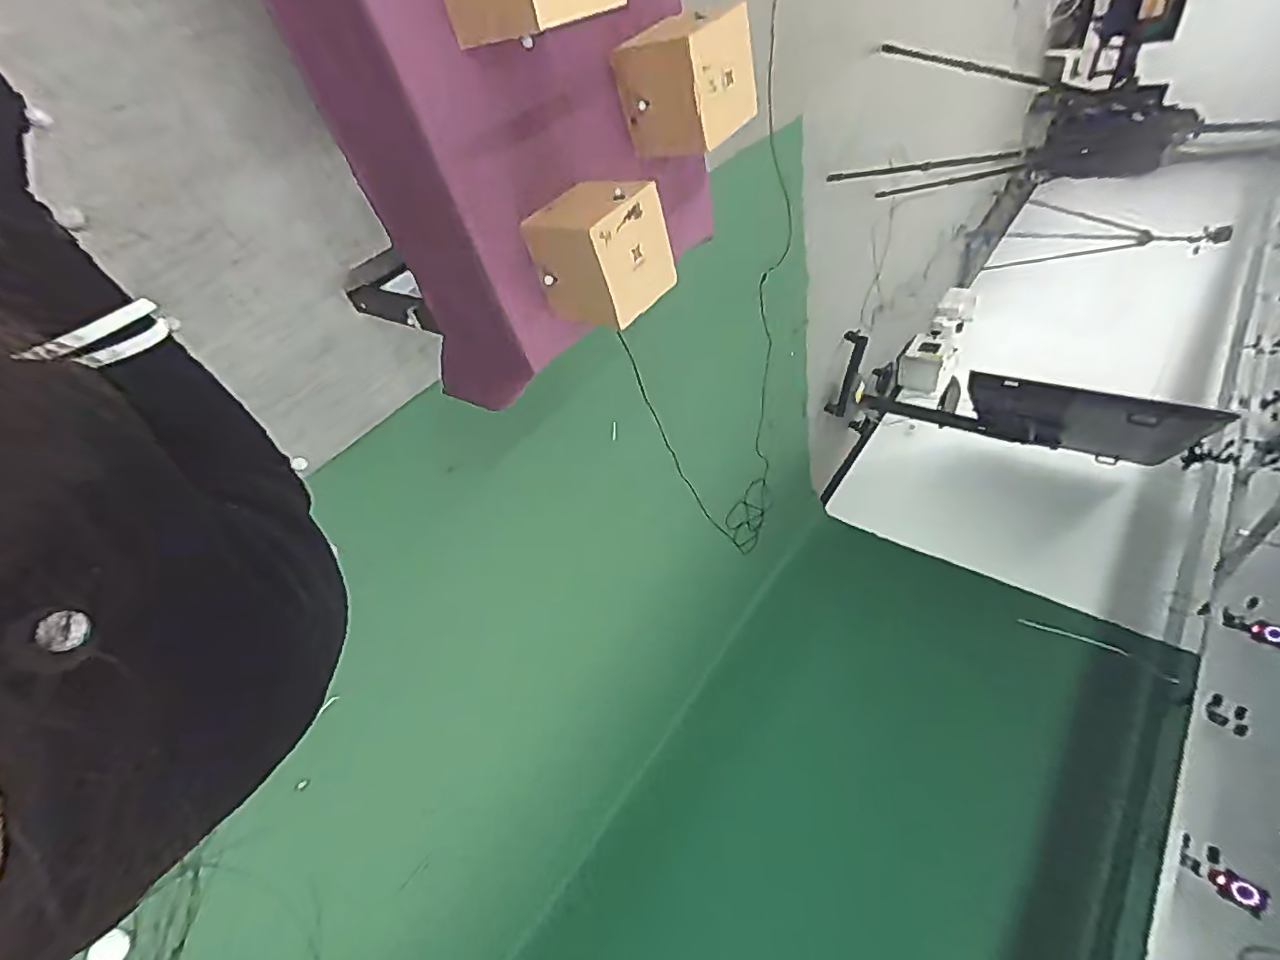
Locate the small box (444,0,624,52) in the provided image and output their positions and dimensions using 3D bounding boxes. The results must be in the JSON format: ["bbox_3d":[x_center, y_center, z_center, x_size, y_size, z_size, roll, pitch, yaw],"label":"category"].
[{"bbox_3d":[-0.150,-0.665,0.669,0.168,0.176,0.179,-45,140,-29],"label":"small box"}]

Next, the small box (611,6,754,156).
[{"bbox_3d":[0.079,-0.695,0.953,0.179,0.176,0.168,-49,140,-24],"label":"small box"}]

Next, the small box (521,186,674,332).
[{"bbox_3d":[-0.069,-0.383,0.928,0.168,0.176,0.179,-48,141,-26],"label":"small box"}]
